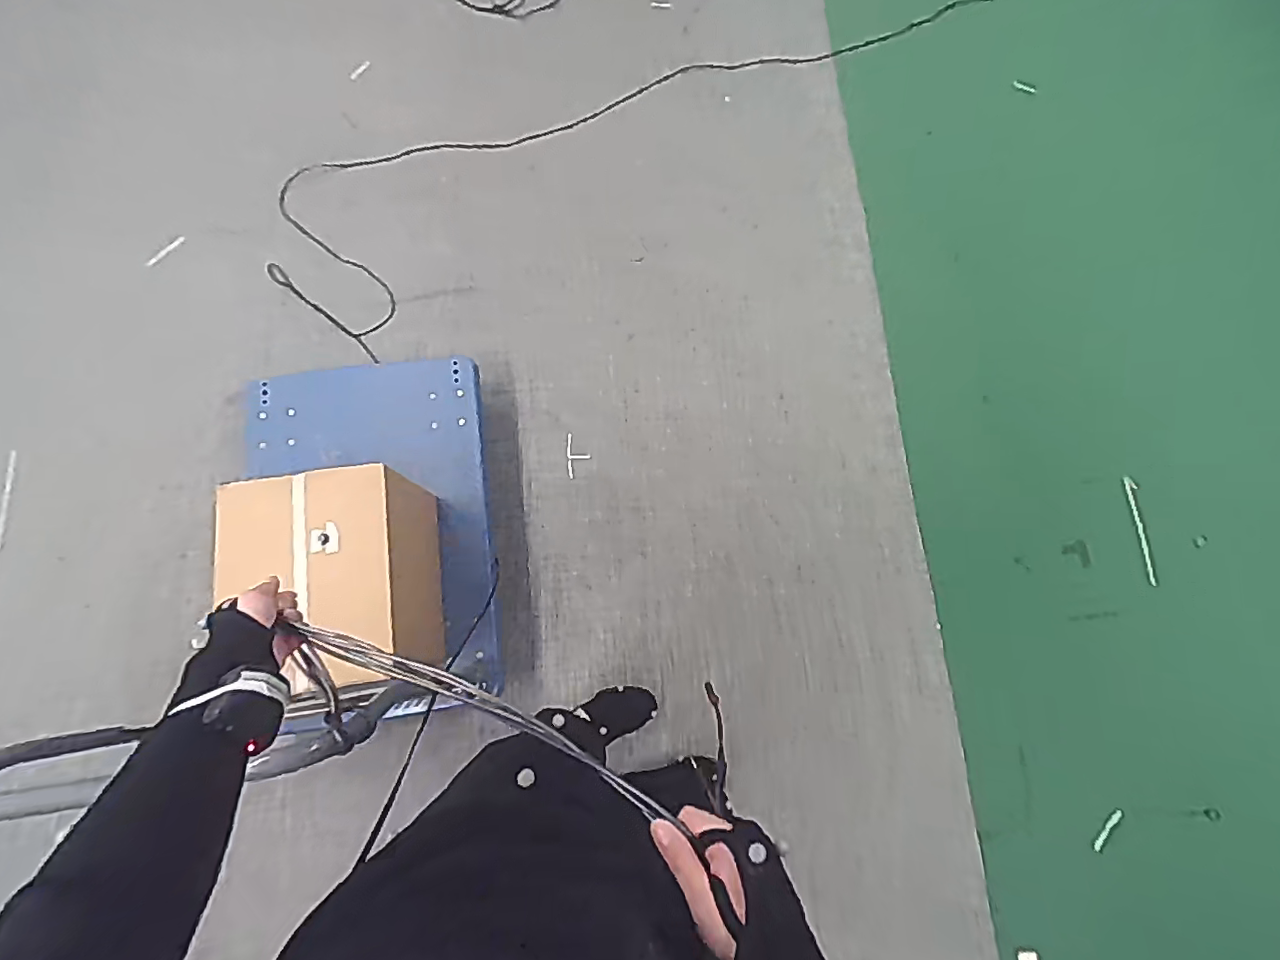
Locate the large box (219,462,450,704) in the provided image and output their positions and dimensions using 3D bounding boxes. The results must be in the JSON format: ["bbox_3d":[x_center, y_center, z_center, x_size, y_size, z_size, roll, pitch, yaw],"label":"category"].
[{"bbox_3d":[-0.614,0.215,1.136,0.320,0.320,0.408,-8,76,-5],"label":"large box"}]
